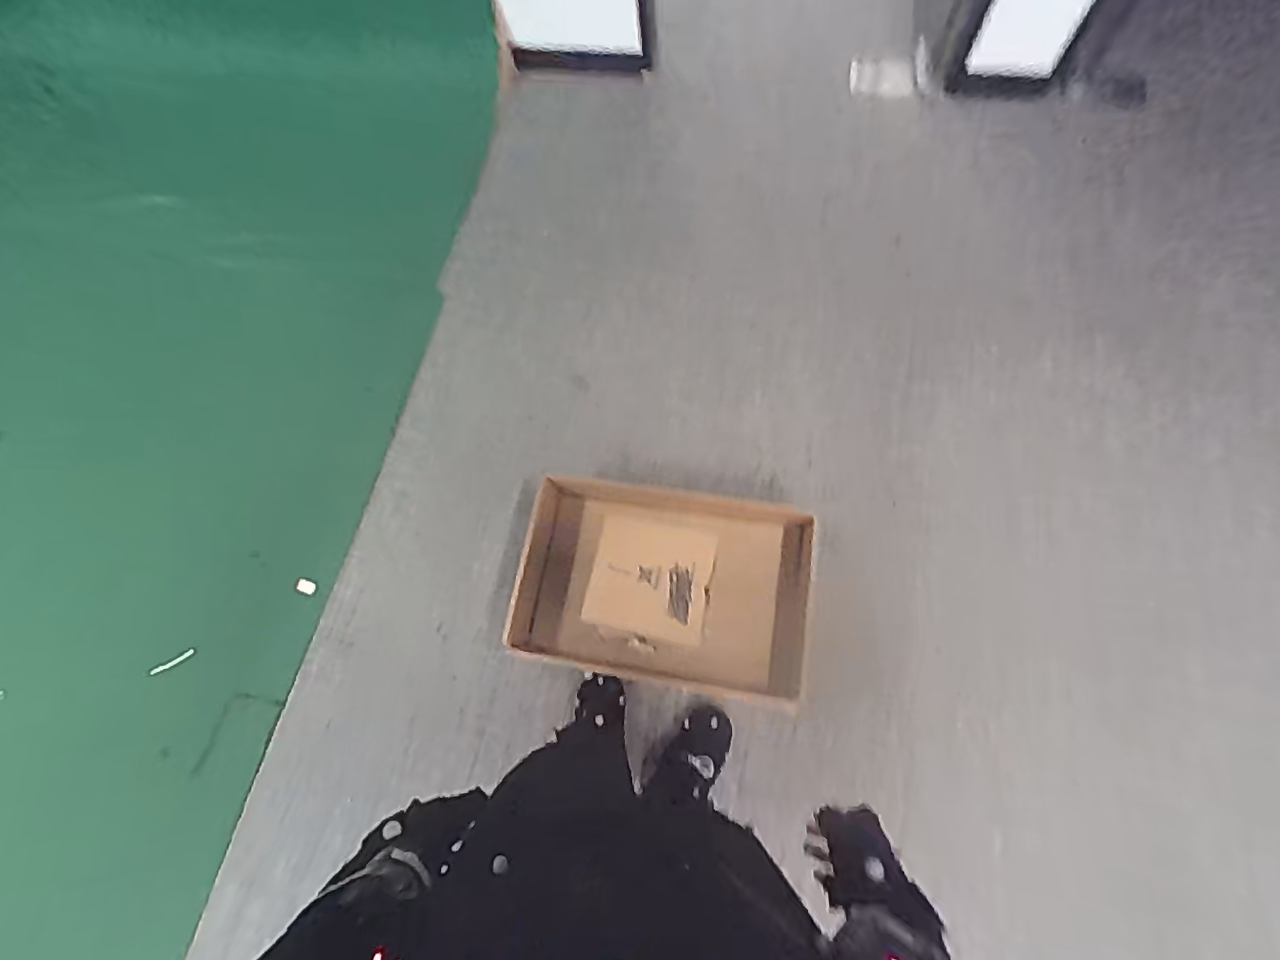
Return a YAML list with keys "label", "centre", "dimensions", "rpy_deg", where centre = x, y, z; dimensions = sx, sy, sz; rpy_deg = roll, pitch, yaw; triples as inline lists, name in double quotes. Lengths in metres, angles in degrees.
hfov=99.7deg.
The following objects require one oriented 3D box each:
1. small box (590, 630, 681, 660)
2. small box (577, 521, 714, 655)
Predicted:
- label: "small box"
  centre: [0.018, 0.230, 1.018]
  dimensions: [0.168, 0.176, 0.179]
  rpy_deg: [12, 73, 8]
- label: "small box"
  centre: [0.015, 0.180, 0.878]
  dimensions: [0.179, 0.176, 0.168]
  rpy_deg: [12, 72, 9]
